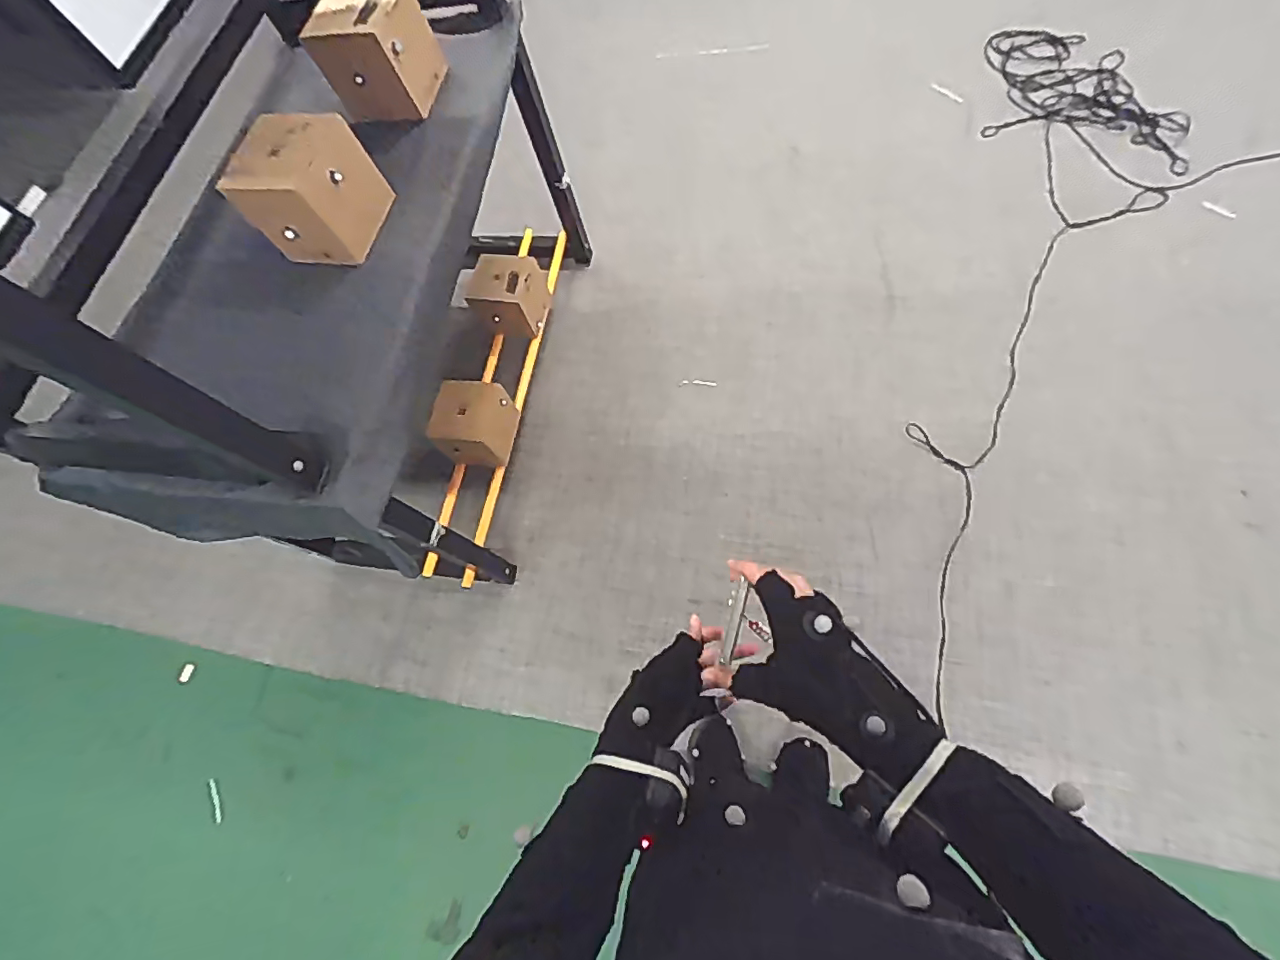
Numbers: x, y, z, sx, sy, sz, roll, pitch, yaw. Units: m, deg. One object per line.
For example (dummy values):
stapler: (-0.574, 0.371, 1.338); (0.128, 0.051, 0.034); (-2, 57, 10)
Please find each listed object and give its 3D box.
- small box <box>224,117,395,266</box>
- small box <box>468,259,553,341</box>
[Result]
small box: (-0.577, -0.510, 0.971); (0.168, 0.176, 0.179); (8, 70, 13)
small box: (-0.381, -0.537, 1.629); (0.179, 0.176, 0.168); (9, 70, 13)
